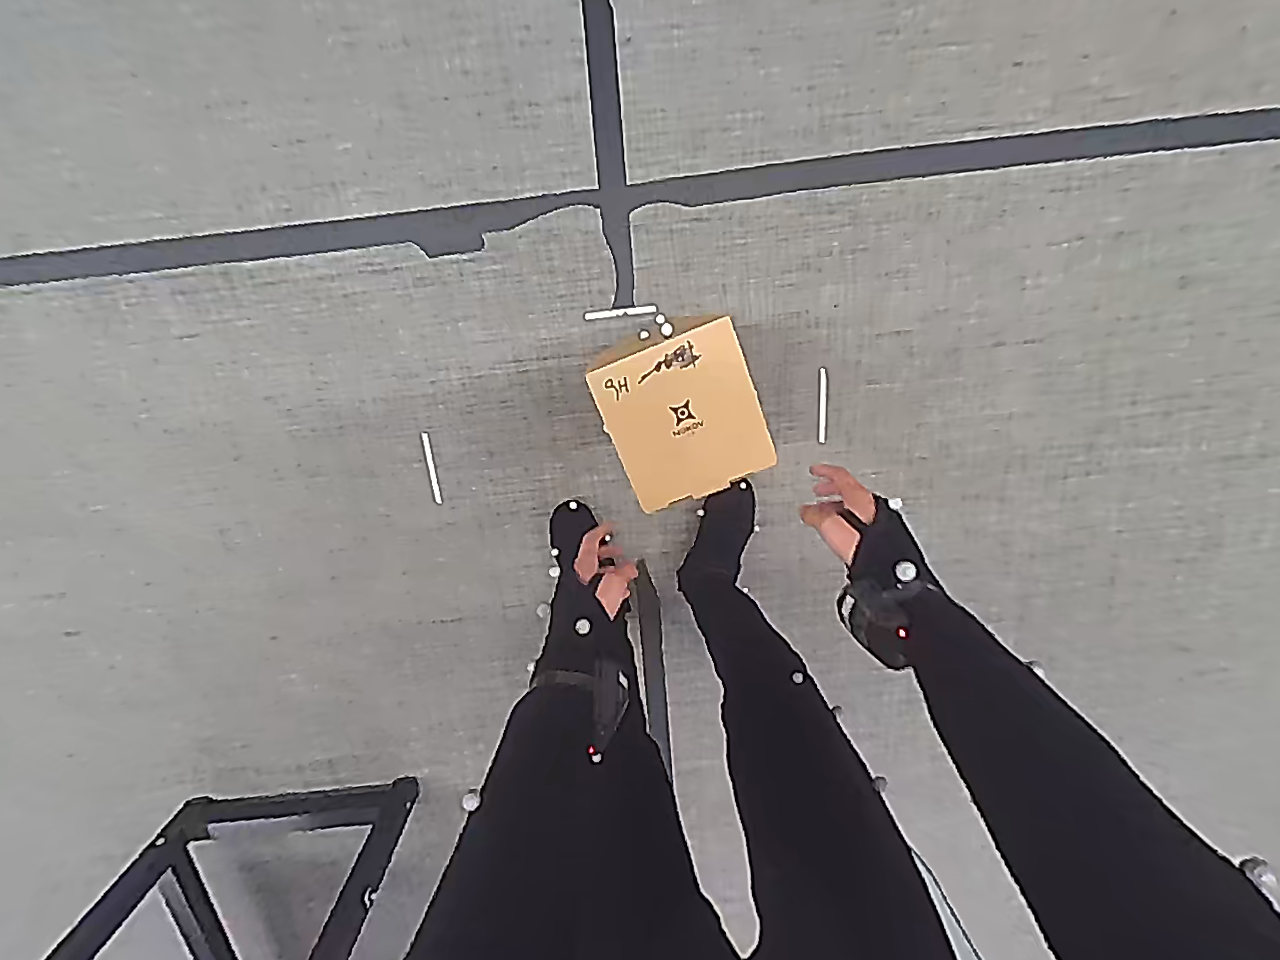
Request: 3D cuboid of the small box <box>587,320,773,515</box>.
[{"bbox_3d":[0.046,-0.086,0.671,0.168,0.176,0.179,-21,108,5],"label":"small box"}]
